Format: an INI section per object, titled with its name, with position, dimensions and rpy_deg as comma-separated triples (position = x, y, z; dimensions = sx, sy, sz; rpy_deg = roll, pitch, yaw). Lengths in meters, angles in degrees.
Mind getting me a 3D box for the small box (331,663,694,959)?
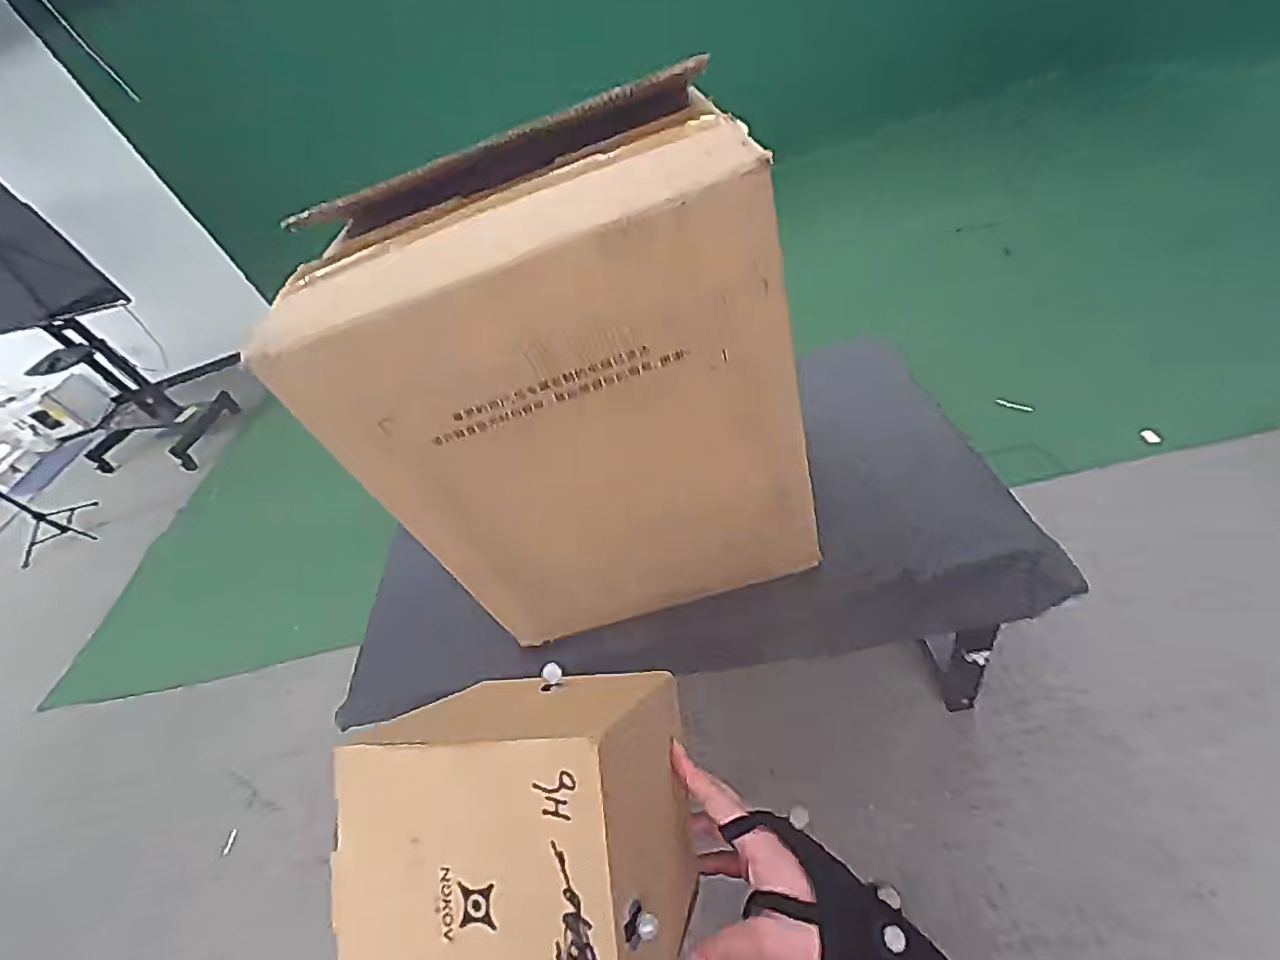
[small box]
position = -0.074, 0.228, 0.368
dimensions = 0.179, 0.176, 0.168
rpy_deg = -9, 81, 17
